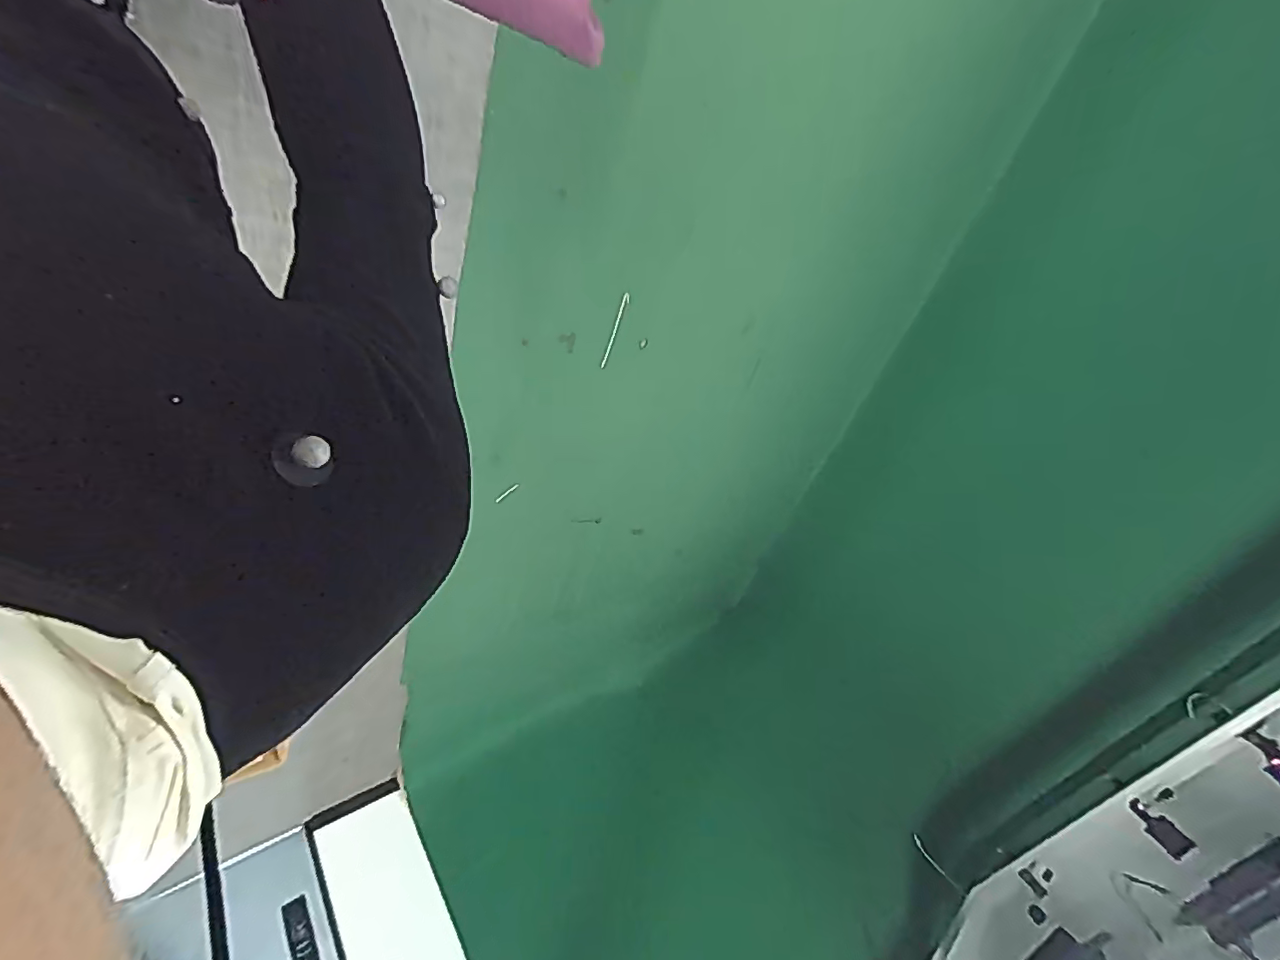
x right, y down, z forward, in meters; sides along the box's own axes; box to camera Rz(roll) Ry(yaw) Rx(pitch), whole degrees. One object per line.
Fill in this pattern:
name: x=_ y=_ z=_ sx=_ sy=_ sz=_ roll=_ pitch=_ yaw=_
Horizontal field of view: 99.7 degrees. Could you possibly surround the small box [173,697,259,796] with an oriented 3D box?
small box: x=-1.260 y=0.780 z=1.603 sx=0.179 sy=0.176 sz=0.168 roll=-6 pitch=131 yaw=-45
